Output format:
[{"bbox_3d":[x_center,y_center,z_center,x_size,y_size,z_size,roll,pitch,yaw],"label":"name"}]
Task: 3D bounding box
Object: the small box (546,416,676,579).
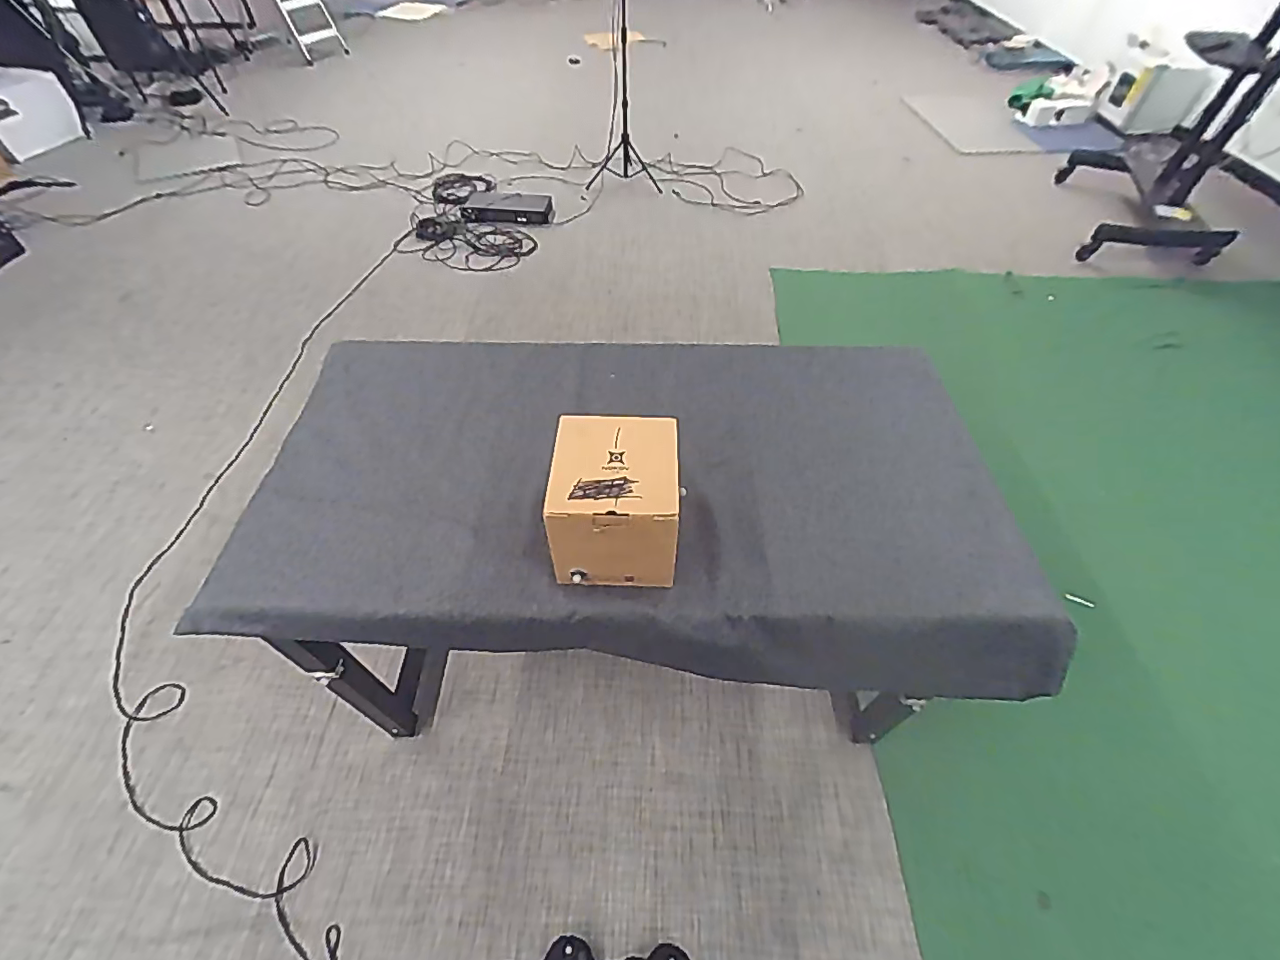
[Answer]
[{"bbox_3d":[-0.033,0.028,0.782,0.168,0.176,0.179,2,49,1],"label":"small box"}]
